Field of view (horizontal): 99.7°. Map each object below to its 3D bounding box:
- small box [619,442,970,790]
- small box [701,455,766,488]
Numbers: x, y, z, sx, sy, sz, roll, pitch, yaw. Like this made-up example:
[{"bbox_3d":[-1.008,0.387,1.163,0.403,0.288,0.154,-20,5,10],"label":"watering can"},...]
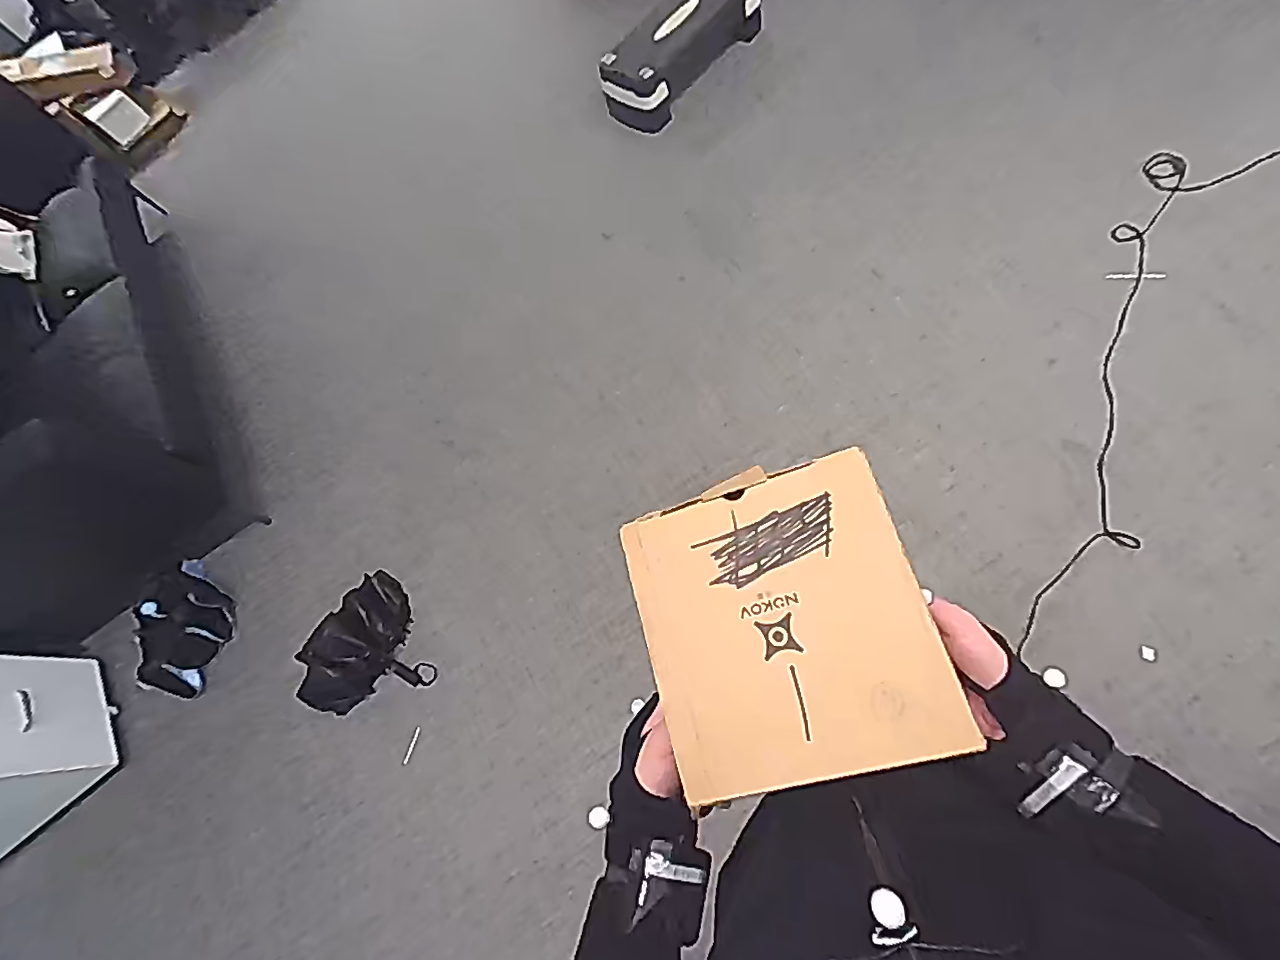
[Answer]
[{"bbox_3d":[0.104,0.097,0.397,0.168,0.176,0.179,-19,72,15],"label":"small box"},{"bbox_3d":[0.286,0.065,1.457,0.179,0.176,0.168,-27,68,3],"label":"small box"}]
